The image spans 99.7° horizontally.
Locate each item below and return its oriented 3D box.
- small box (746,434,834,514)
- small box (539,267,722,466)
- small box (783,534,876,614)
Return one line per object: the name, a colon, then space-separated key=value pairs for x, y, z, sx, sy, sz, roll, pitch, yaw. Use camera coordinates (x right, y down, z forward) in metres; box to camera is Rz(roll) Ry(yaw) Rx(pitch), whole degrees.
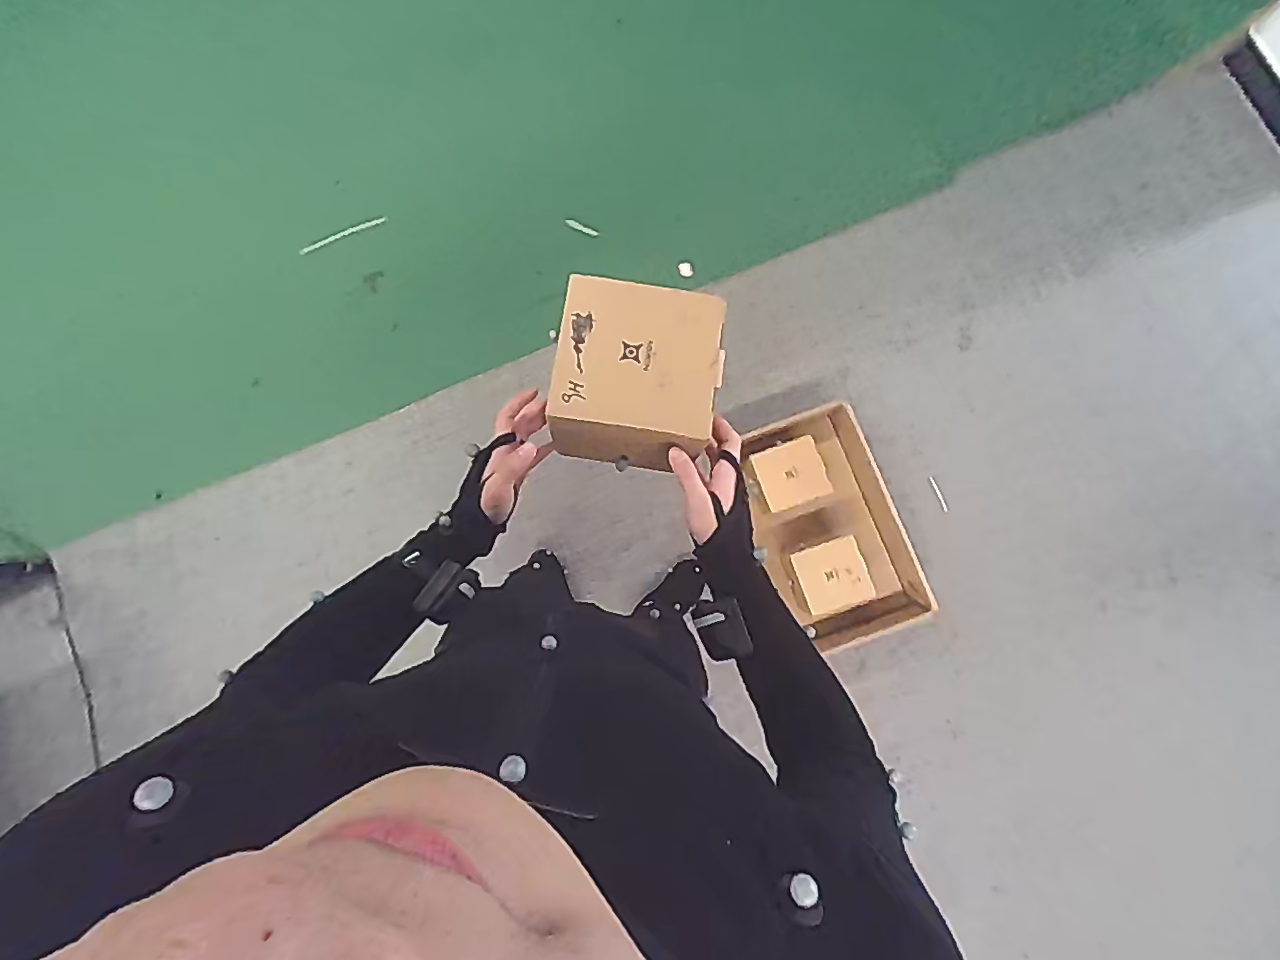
small box: x=0.405 y=-0.010 z=1.501 sx=0.179 sy=0.176 sz=0.168 roll=-20 pitch=83 yaw=0
small box: x=-0.014 y=-0.120 z=0.642 sx=0.179 sy=0.176 sz=0.168 roll=8 pitch=77 yaw=-4
small box: x=0.501 y=0.253 z=1.463 sx=0.179 sy=0.176 sz=0.168 roll=-18 pitch=82 yaw=1
